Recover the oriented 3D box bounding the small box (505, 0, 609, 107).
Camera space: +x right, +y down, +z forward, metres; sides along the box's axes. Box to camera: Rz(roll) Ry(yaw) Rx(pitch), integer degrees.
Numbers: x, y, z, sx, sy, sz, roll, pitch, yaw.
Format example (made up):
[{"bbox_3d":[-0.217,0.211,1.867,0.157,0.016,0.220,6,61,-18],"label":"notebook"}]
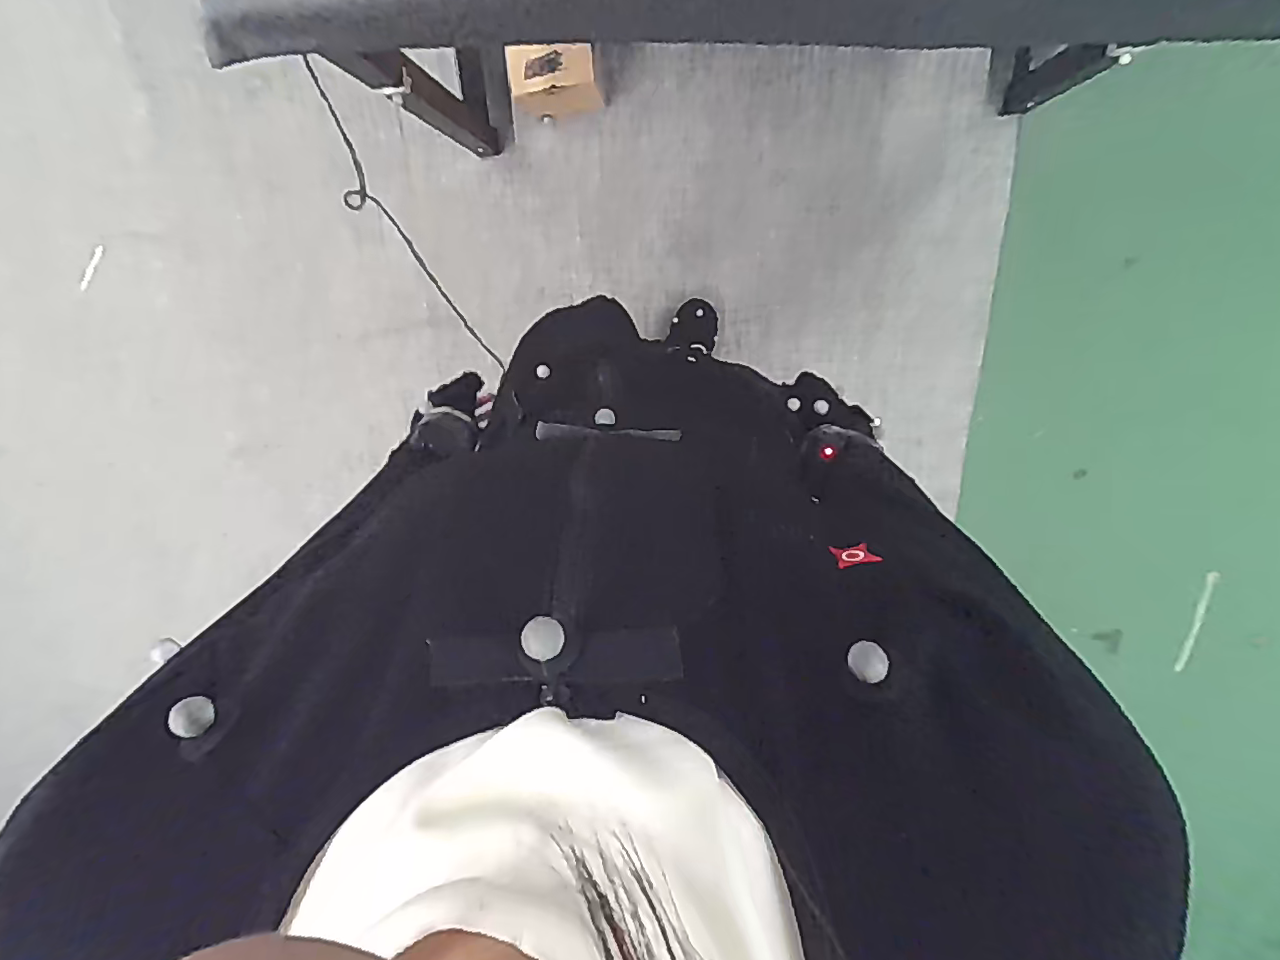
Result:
[{"bbox_3d":[-0.160,-0.877,1.087,0.168,0.176,0.179,-4,109,6],"label":"small box"}]
